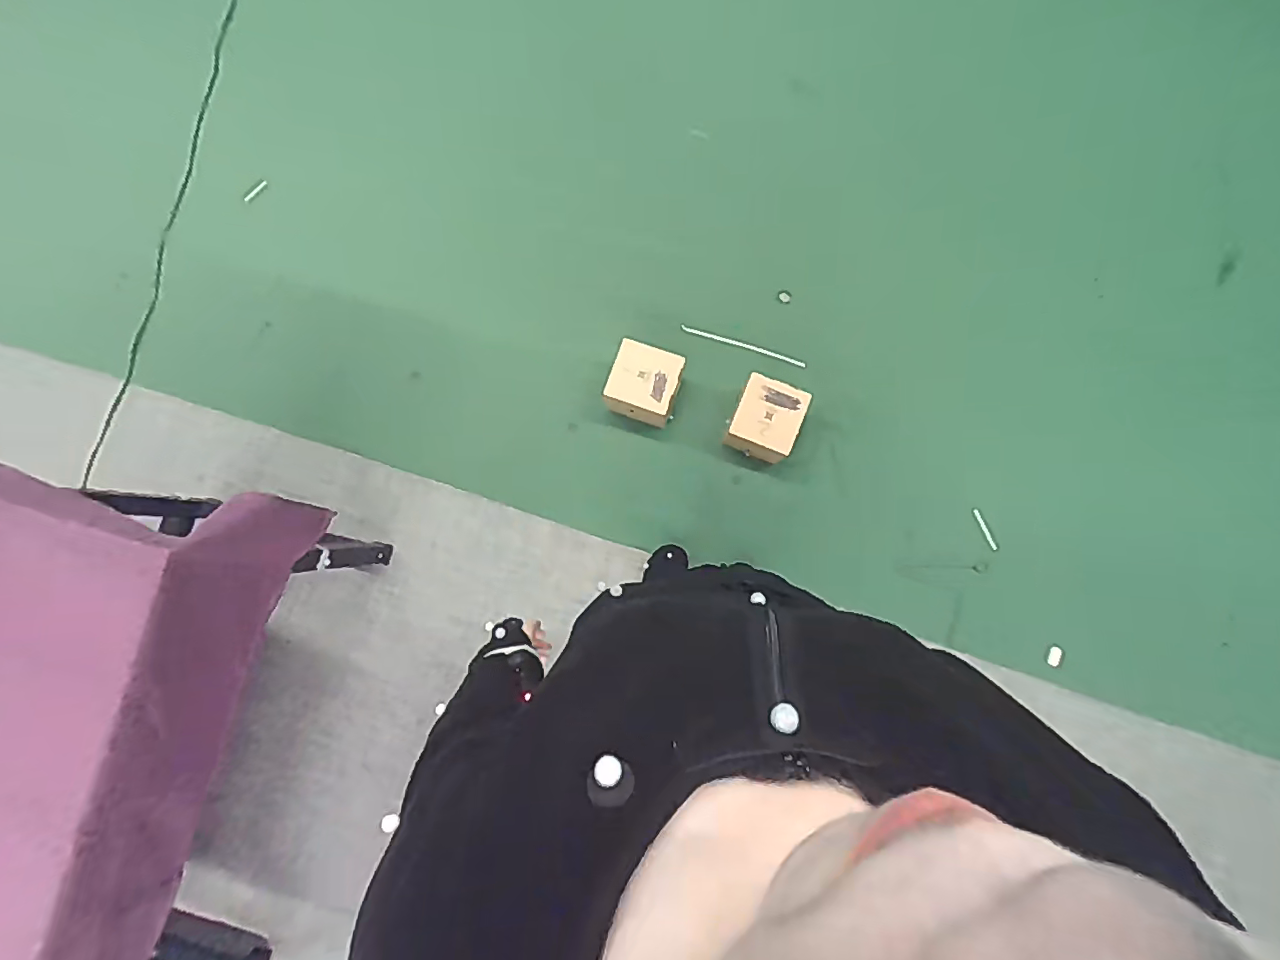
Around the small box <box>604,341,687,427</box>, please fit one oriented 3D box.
[{"bbox_3d":[0.019,-0.254,1.486,0.179,0.176,0.168,20,85,6],"label":"small box"}]
